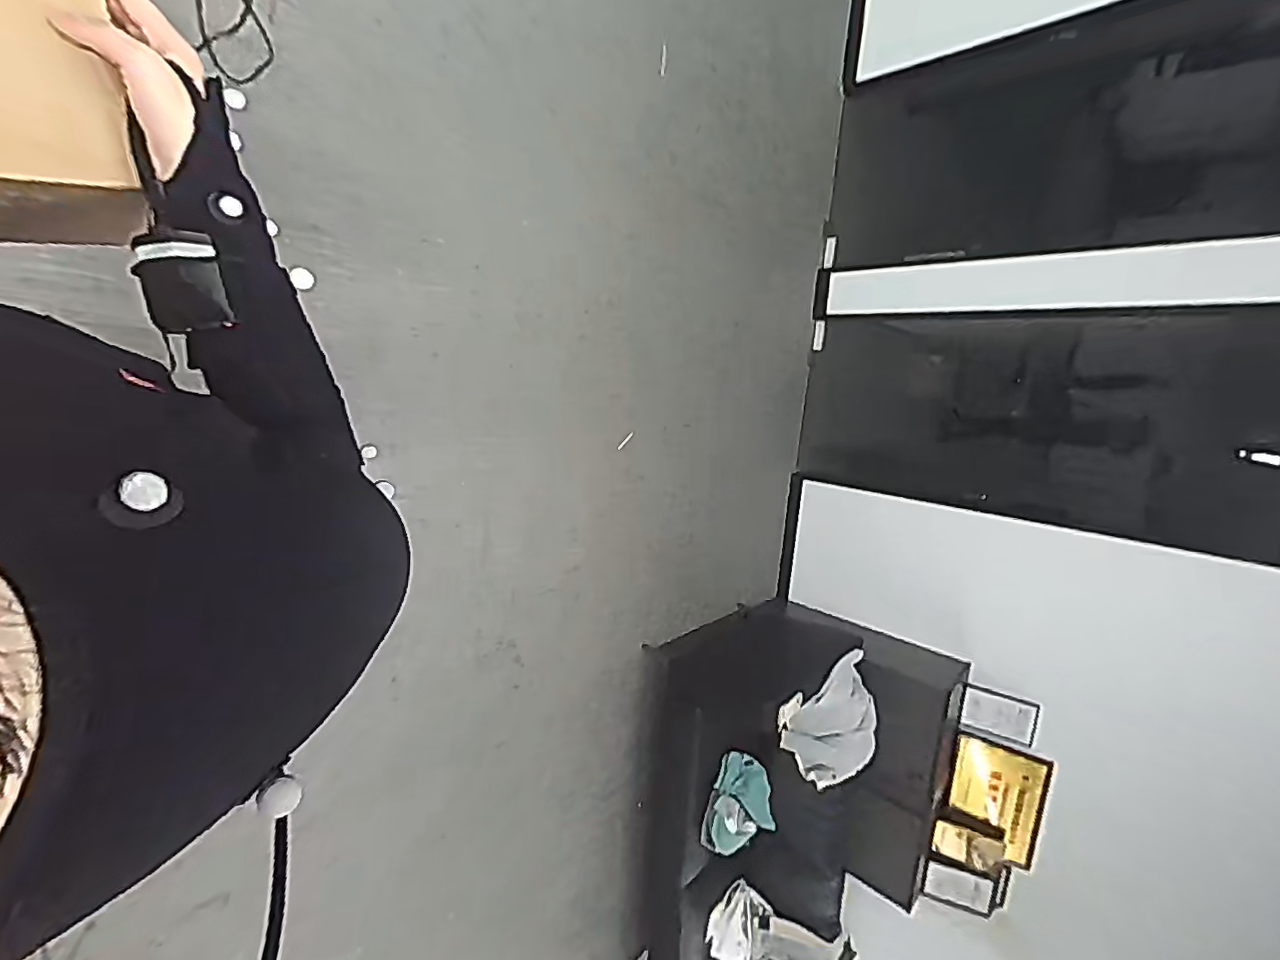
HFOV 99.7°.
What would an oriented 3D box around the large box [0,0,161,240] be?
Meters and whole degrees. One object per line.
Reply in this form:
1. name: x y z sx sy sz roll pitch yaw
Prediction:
1. large box: -0.603 -0.333 0.318 0.408 0.320 0.320 -20 114 -43
